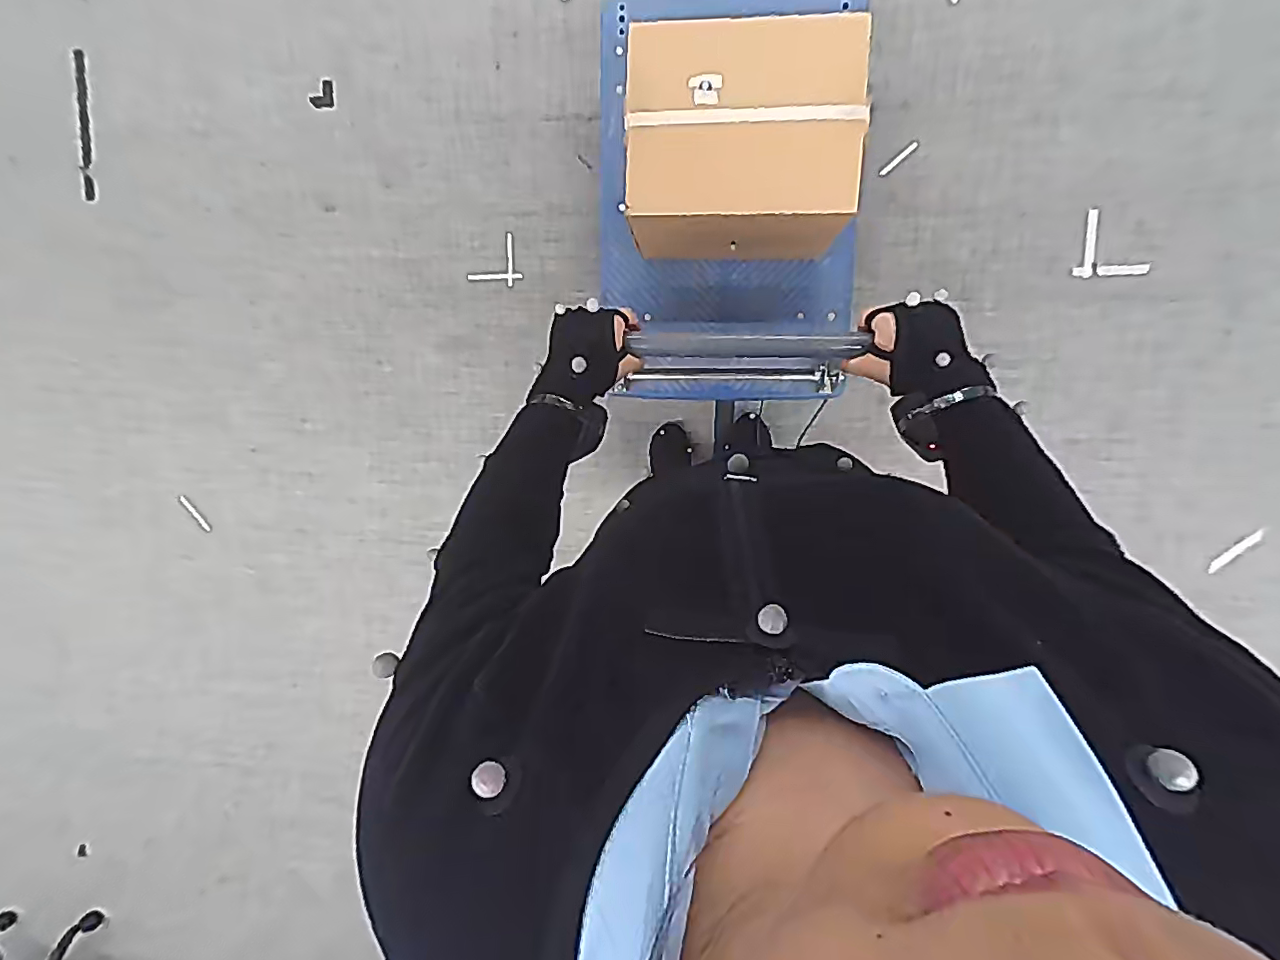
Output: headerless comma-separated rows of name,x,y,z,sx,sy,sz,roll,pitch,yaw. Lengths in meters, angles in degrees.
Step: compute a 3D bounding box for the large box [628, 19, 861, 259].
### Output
large box,0.196,-0.647,1.096,0.408,0.320,0.320,2,97,7
